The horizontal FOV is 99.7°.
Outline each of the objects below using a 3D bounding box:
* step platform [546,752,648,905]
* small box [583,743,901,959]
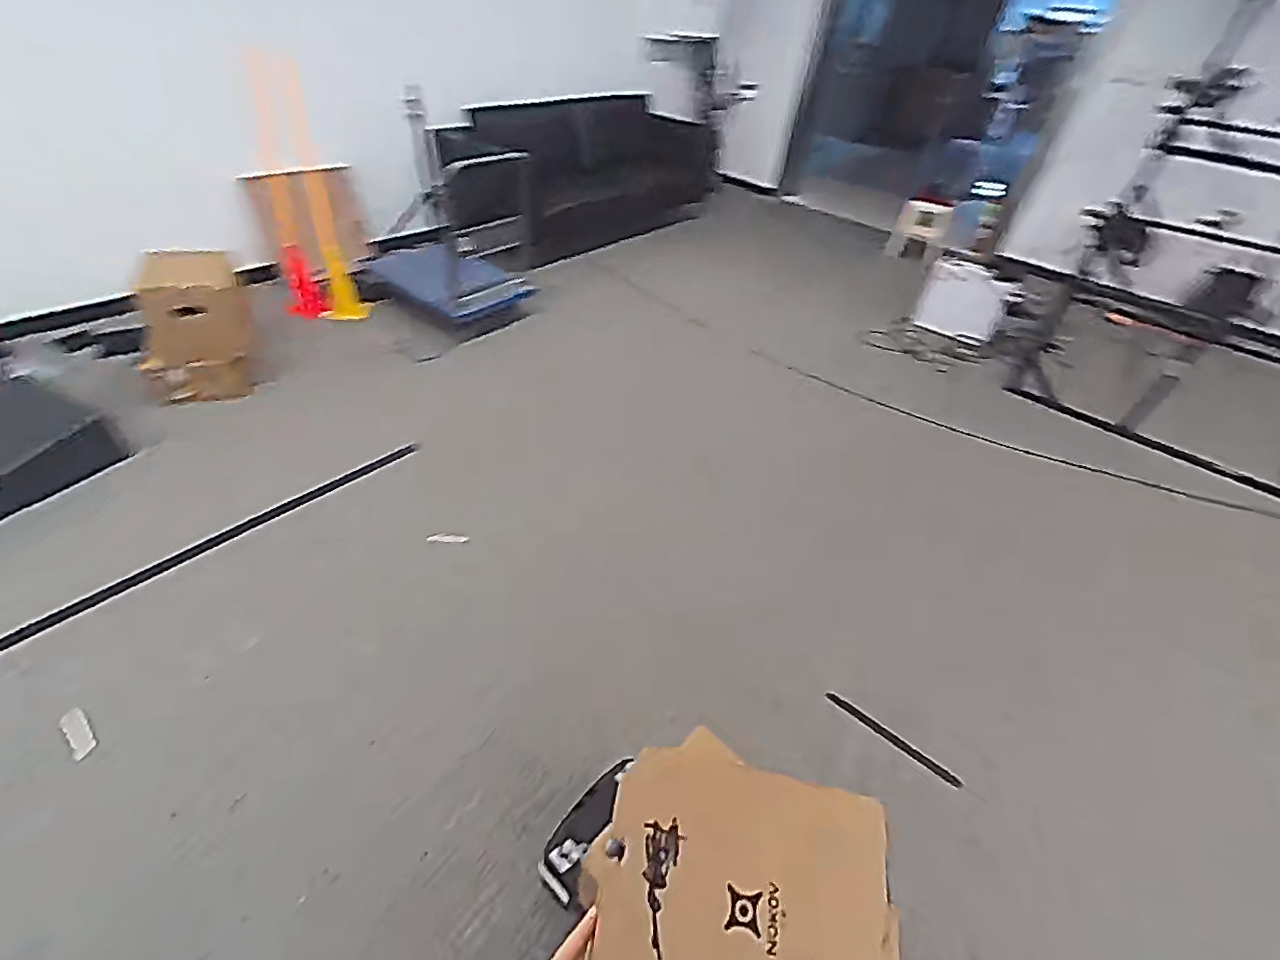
[{"bbox_3d":[0.107,0.916,1.098,0.286,0.204,0.684,-30,52,-33],"label":"step platform"},{"bbox_3d":[0.063,0.312,0.391,0.179,0.176,0.168,14,52,0],"label":"small box"}]
